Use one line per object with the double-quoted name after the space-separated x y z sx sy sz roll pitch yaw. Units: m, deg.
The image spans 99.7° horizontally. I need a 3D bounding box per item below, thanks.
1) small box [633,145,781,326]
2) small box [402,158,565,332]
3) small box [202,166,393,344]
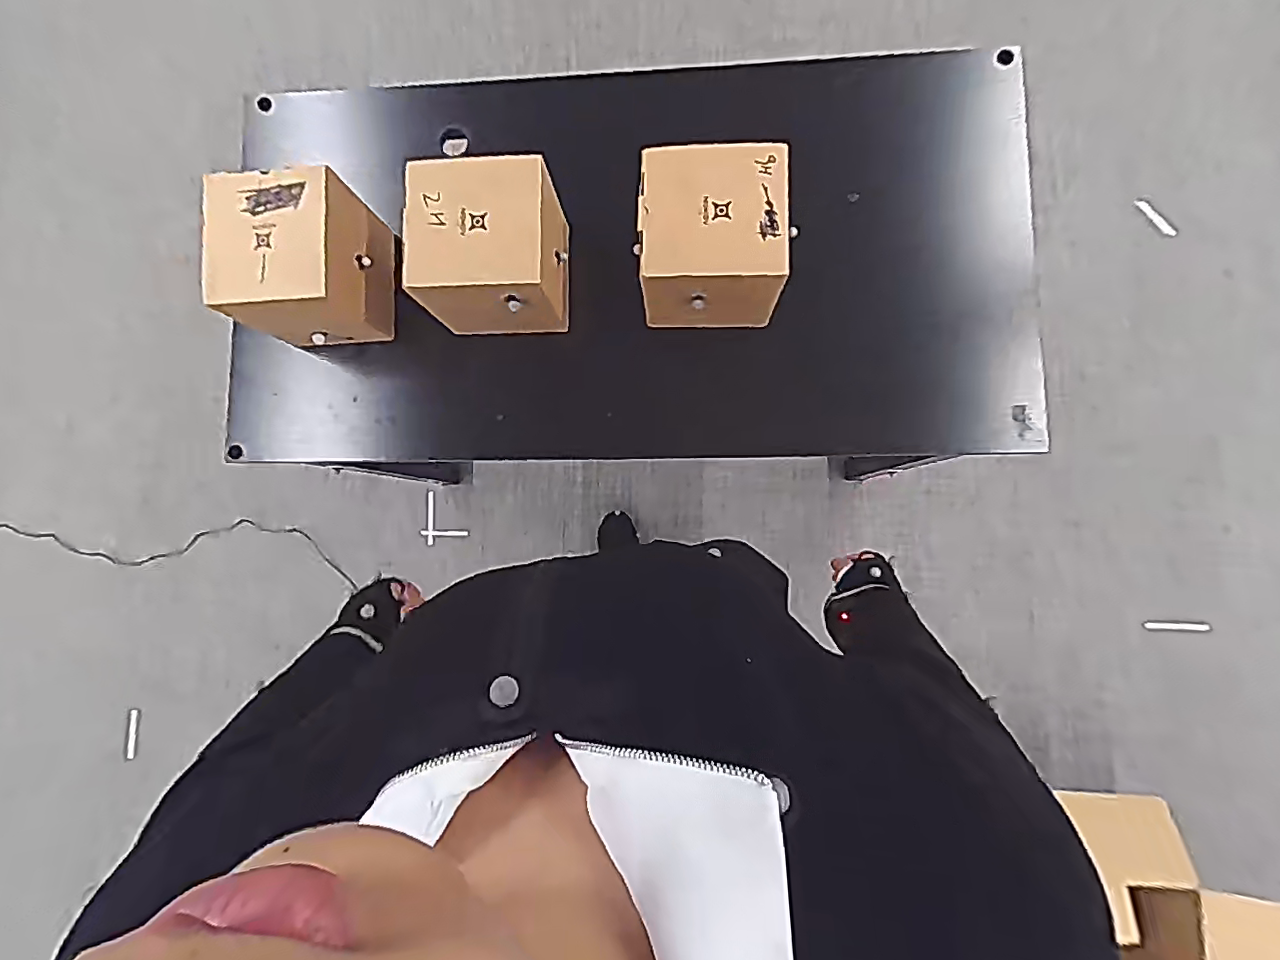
0.088 -0.315 0.728 0.179 0.176 0.168 1 86 5 "small box"
-0.203 -0.312 0.747 0.179 0.176 0.168 -1 85 4 "small box"
-0.470 -0.306 0.766 0.168 0.176 0.179 -2 87 4 "small box"
